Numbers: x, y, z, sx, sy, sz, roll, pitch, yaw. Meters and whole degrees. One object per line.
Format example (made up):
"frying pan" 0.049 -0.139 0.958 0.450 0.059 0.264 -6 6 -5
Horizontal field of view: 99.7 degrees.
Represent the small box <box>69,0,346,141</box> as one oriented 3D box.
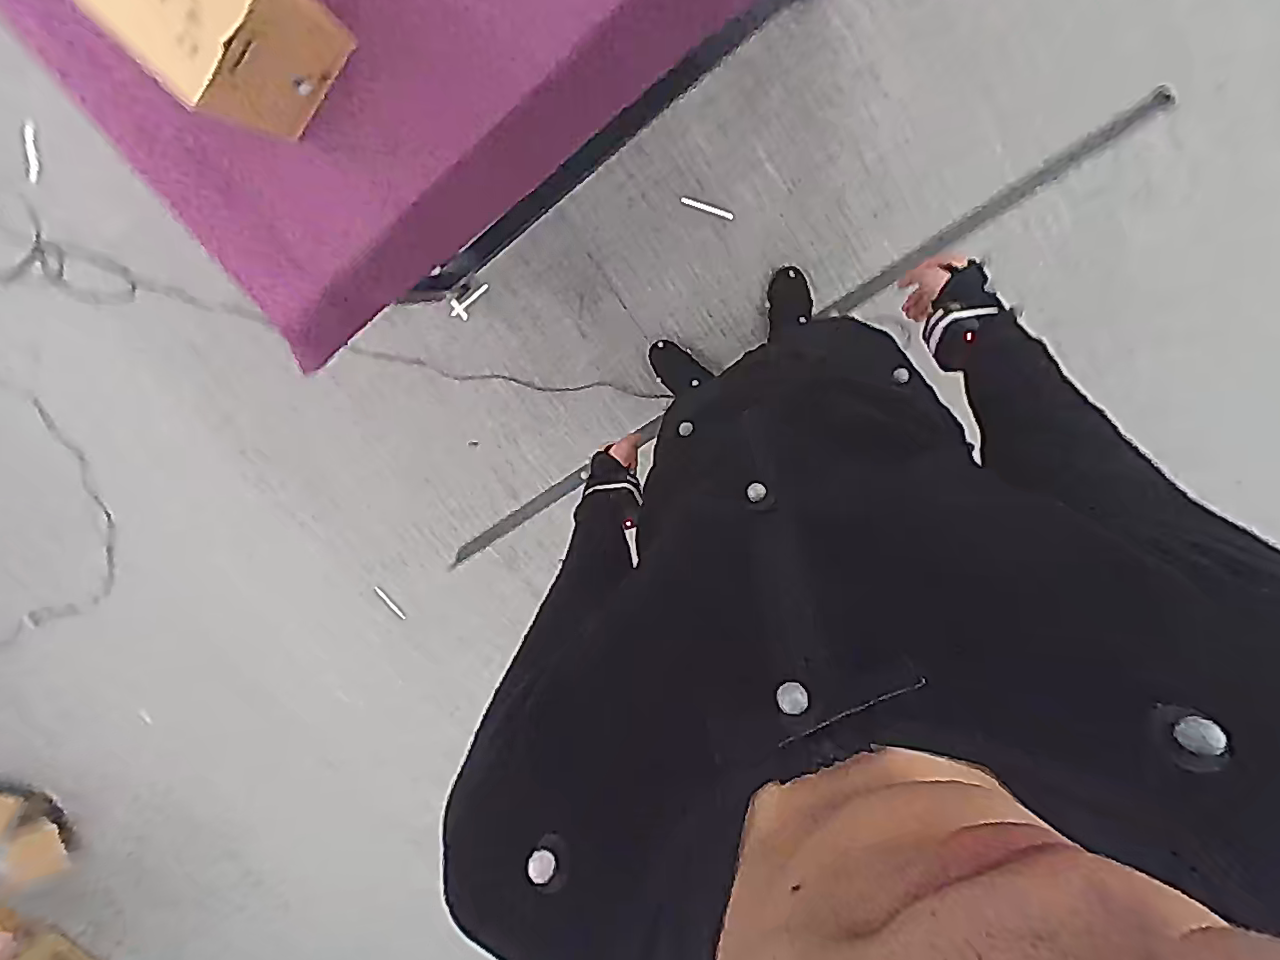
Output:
"small box" -0.505 -0.550 0.646 0.179 0.176 0.168 43 108 -11
